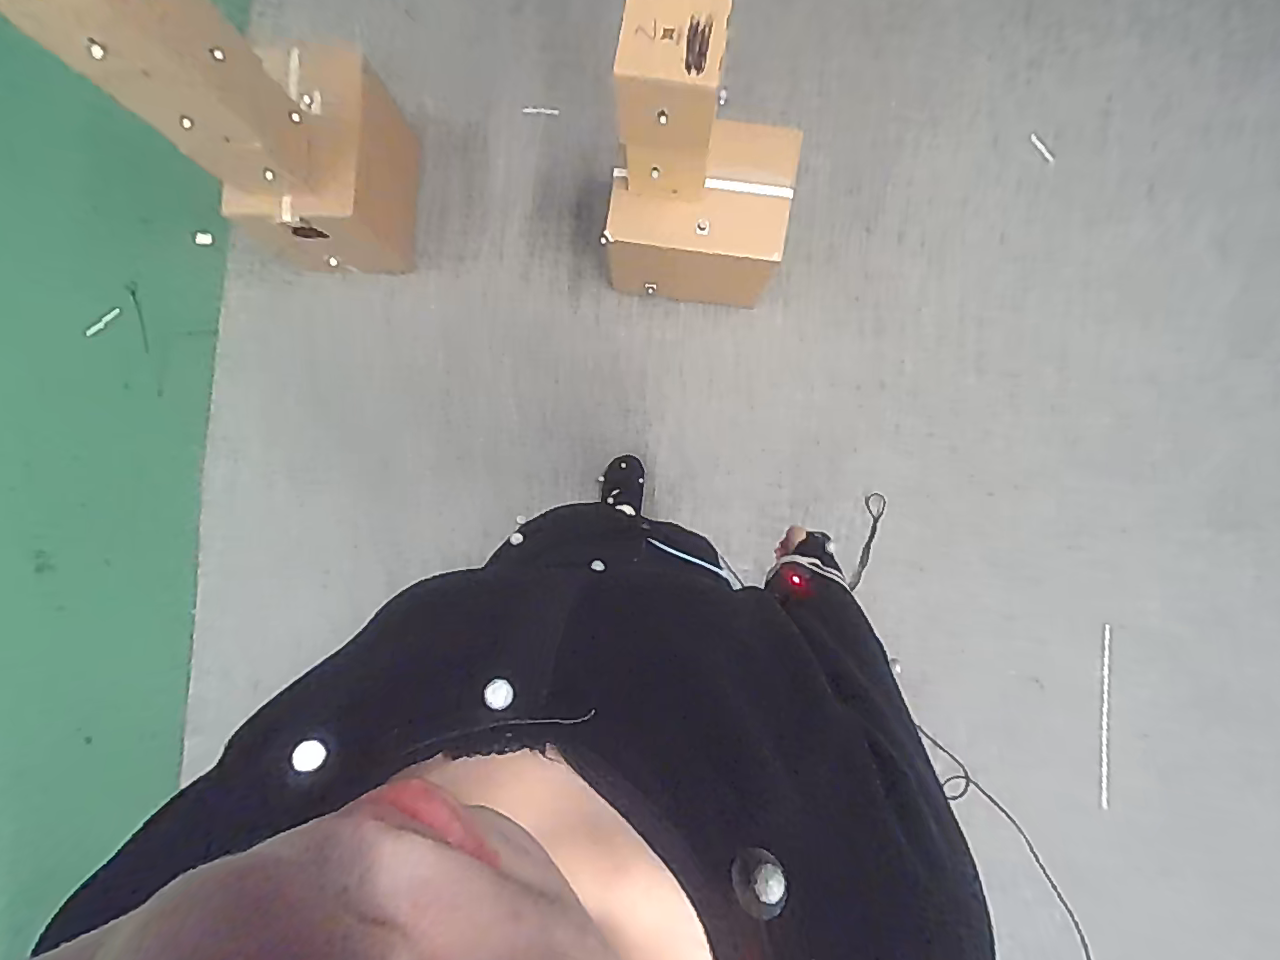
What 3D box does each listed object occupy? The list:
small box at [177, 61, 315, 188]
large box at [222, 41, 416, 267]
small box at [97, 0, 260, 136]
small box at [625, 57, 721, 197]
[{"bbox_3d":[-0.825,-0.746,1.149,0.179,0.176,0.168,1,88,2],"label":"small box"},{"bbox_3d":[-0.798,-0.808,1.394,0.320,0.320,0.408,2,87,1],"label":"large box"},{"bbox_3d":[-0.828,-0.758,0.985,0.168,0.176,0.179,-3,87,1],"label":"small box"},{"bbox_3d":[0.067,-0.724,1.127,0.168,0.176,0.179,9,87,1],"label":"small box"}]
